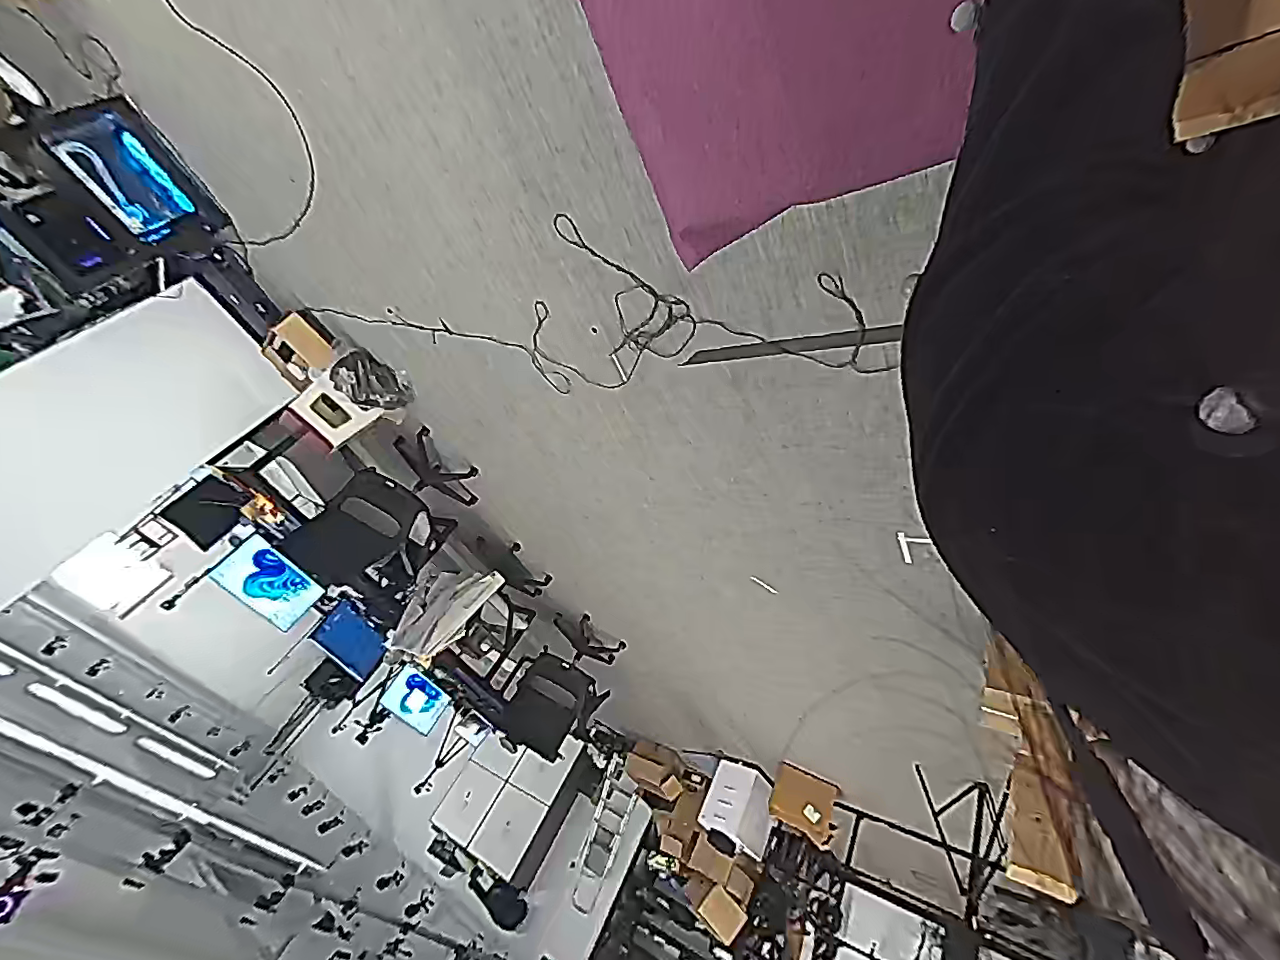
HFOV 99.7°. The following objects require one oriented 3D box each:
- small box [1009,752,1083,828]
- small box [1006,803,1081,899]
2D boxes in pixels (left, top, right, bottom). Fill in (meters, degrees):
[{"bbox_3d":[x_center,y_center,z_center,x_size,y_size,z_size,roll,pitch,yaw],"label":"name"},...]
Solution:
[{"bbox_3d":[1.297,1.000,1.730,0.179,0.176,0.168,4,138,35],"label":"small box"},{"bbox_3d":[1.228,1.125,1.646,0.168,0.176,0.179,6,139,34],"label":"small box"}]
